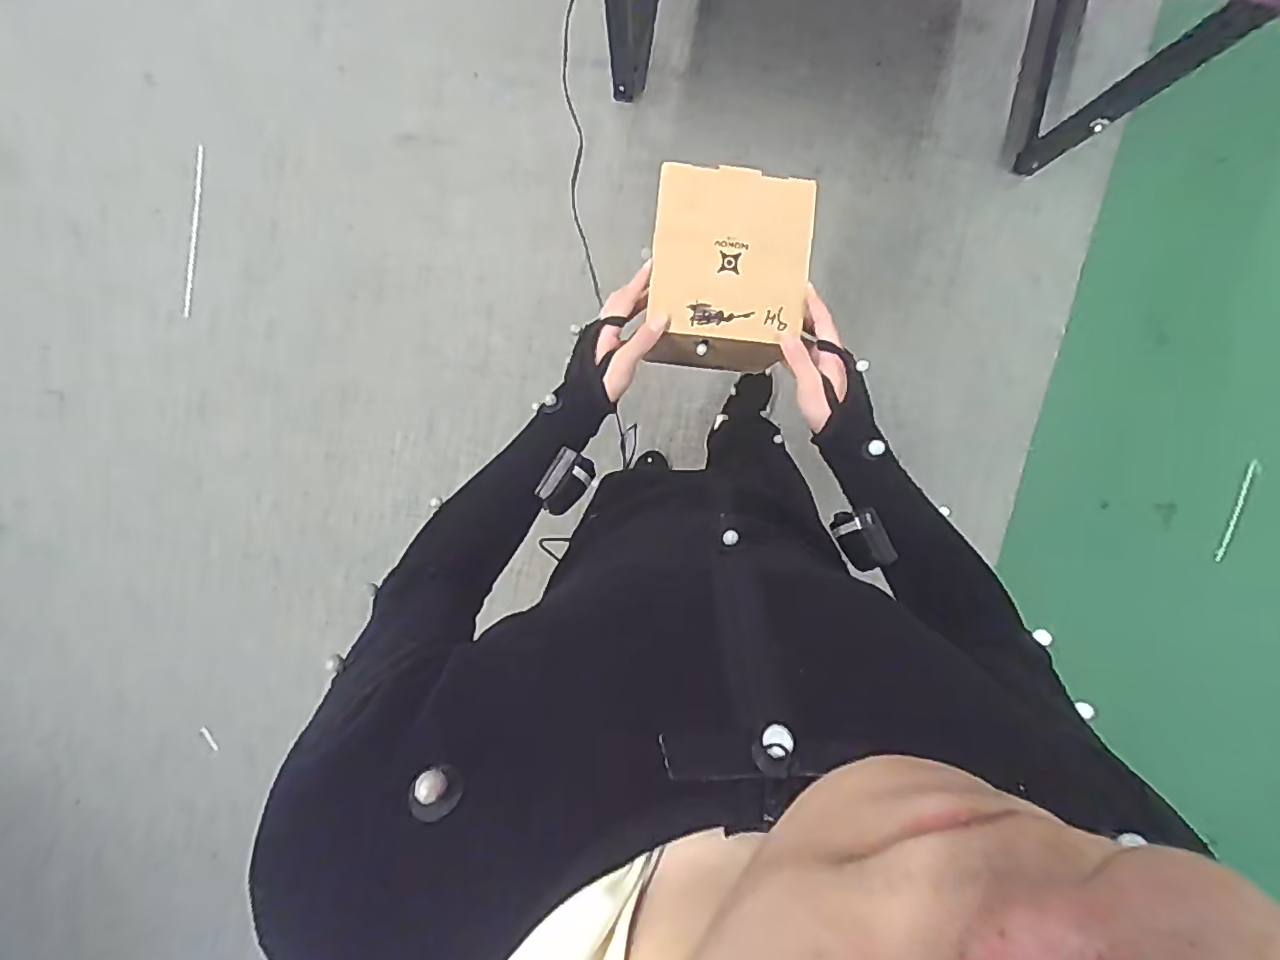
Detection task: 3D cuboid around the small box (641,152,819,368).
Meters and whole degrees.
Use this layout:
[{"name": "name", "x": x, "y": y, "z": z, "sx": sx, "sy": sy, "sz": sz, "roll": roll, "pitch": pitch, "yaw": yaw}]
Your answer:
[{"name": "small box", "x": 0.092, "y": -0.240, "z": 0.631, "sx": 0.168, "sy": 0.176, "sz": 0.179, "roll": 6, "pitch": 91, "yaw": -1}]
